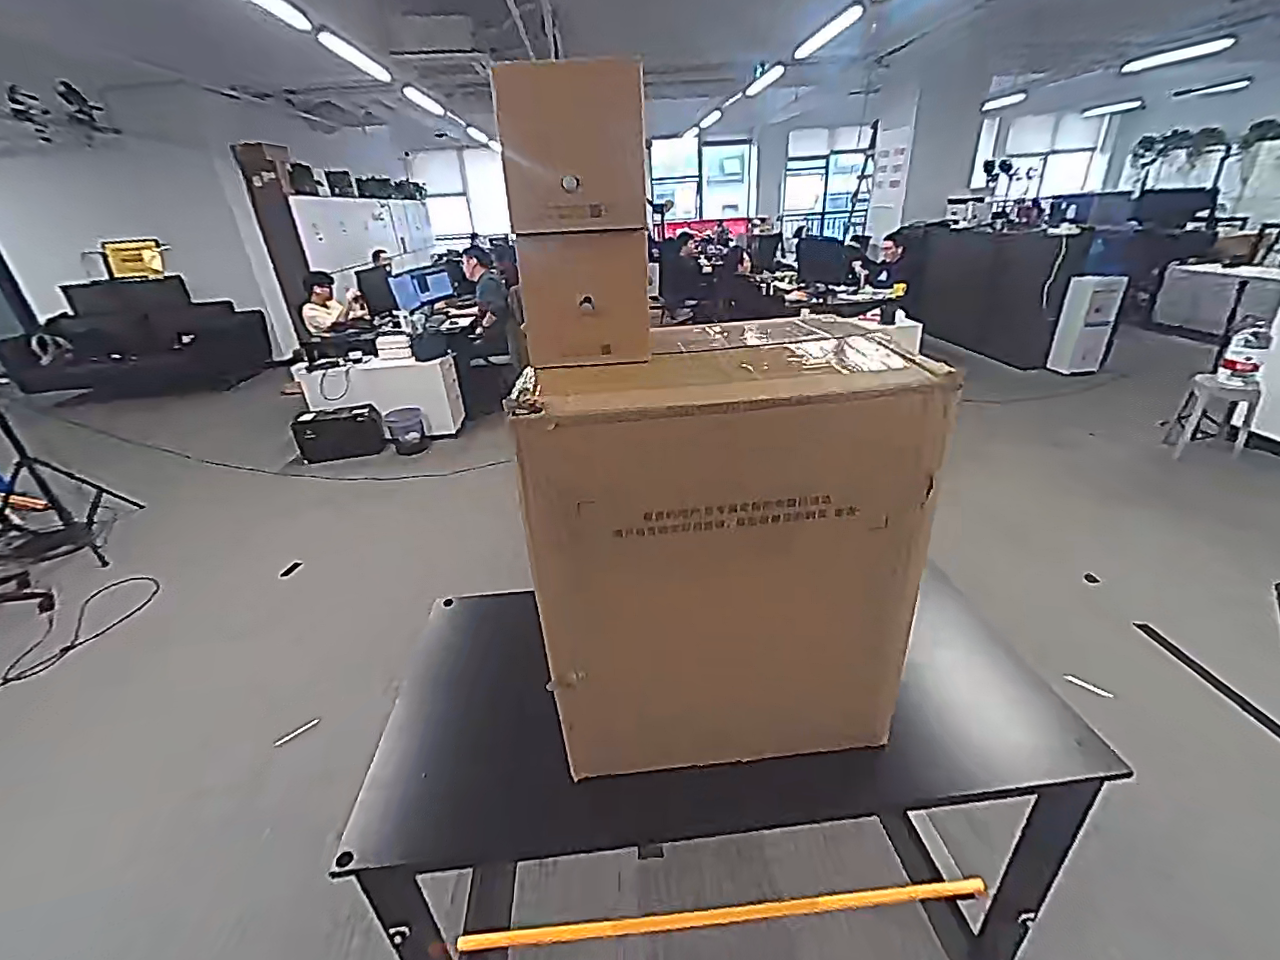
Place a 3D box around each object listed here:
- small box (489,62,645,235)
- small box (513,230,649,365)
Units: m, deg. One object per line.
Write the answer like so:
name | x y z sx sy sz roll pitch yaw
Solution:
small box | -0.082 -0.406 0.686 0.168 0.176 0.179 -4 27 -2
small box | -0.078 -0.265 0.774 0.168 0.176 0.179 -4 27 -3
